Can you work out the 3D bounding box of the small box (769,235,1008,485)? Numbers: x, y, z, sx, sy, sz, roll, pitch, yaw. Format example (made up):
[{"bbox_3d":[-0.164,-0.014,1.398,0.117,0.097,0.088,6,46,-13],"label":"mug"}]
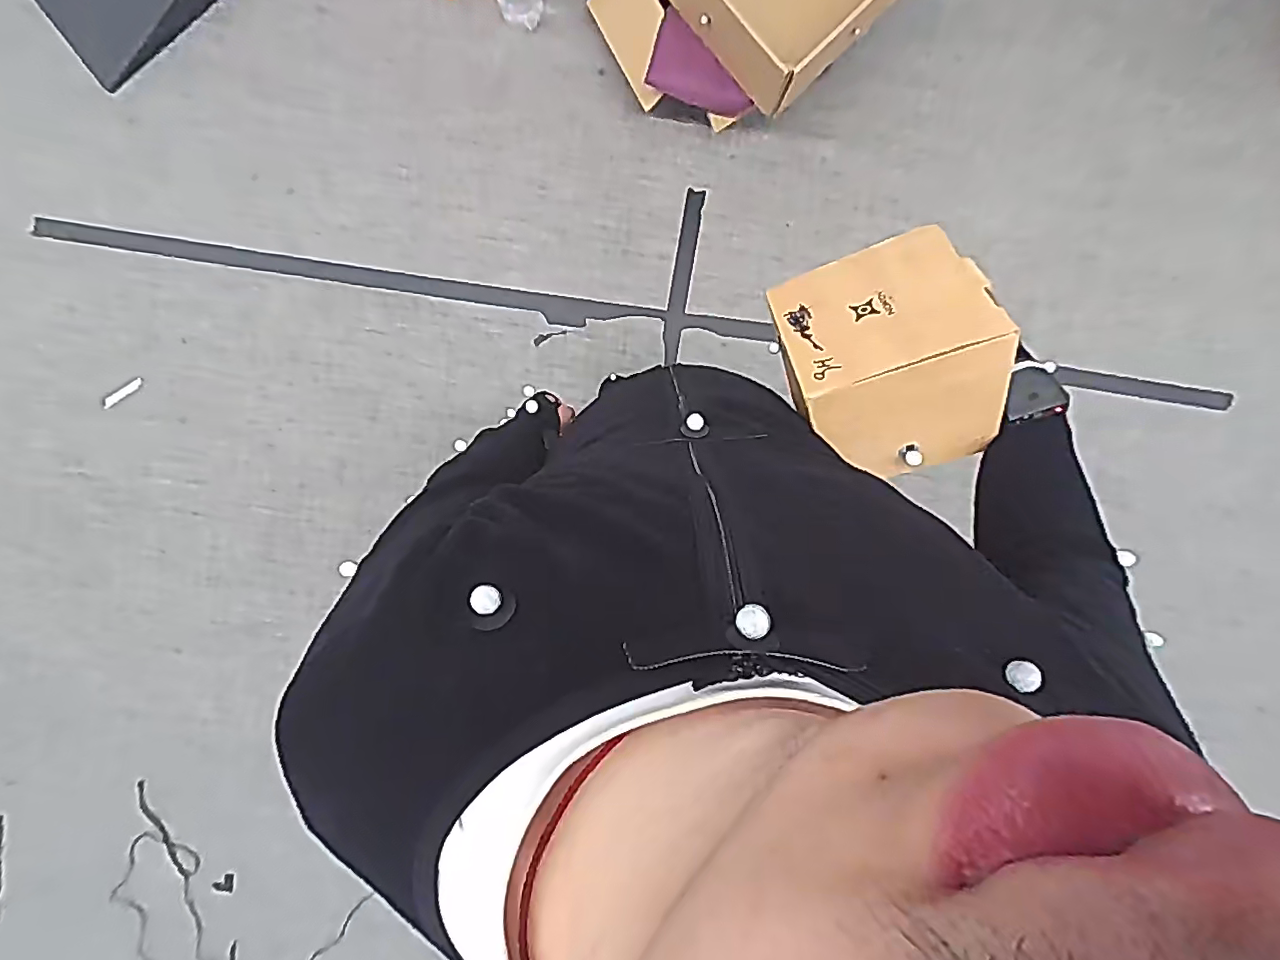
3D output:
[{"bbox_3d":[0.256,-0.120,0.587,0.179,0.168,0.176,-17,141,14],"label":"small box"}]
